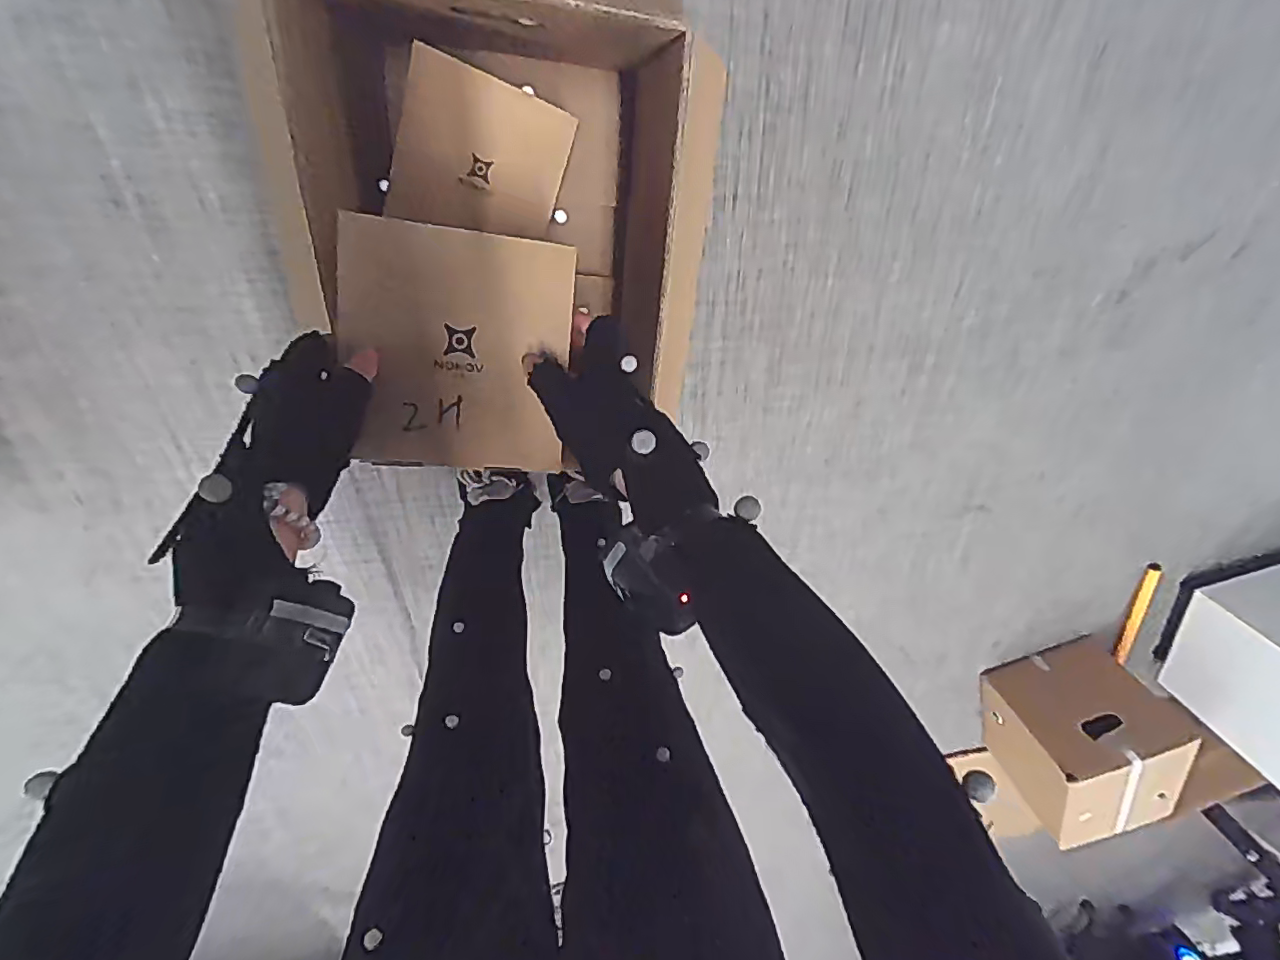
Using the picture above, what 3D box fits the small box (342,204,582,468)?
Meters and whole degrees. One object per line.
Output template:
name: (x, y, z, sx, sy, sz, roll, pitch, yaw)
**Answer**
small box: (-0.149, -0.116, 0.480, 0.168, 0.176, 0.179, 4, 102, -12)
